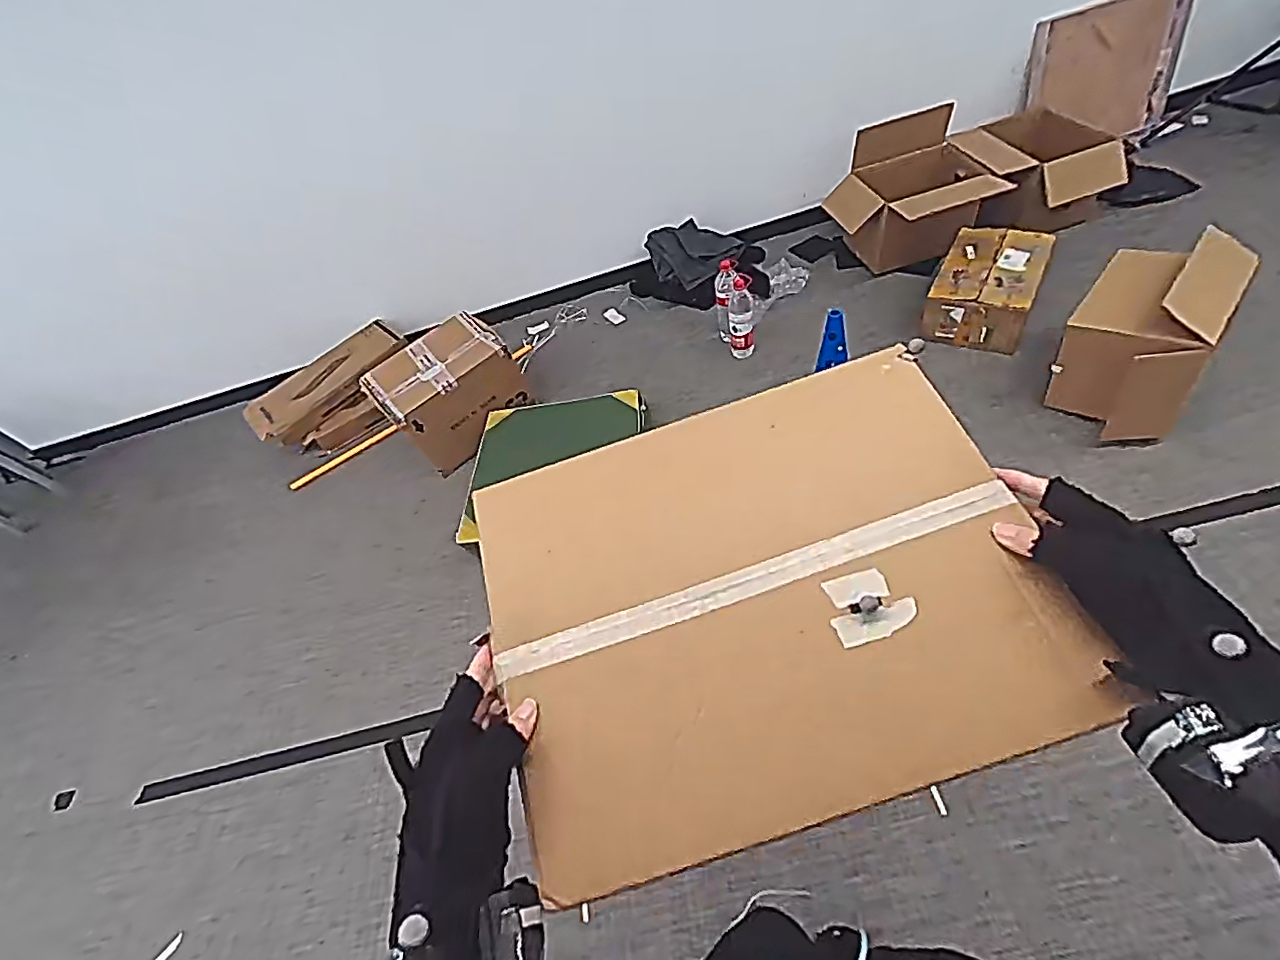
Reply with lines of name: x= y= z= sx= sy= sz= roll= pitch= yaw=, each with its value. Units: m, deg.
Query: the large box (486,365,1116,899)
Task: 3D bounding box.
large box: x=0.110 y=0.152 z=0.556 sx=0.408 sy=0.320 sz=0.320 roll=-19 pitch=62 yaw=0
